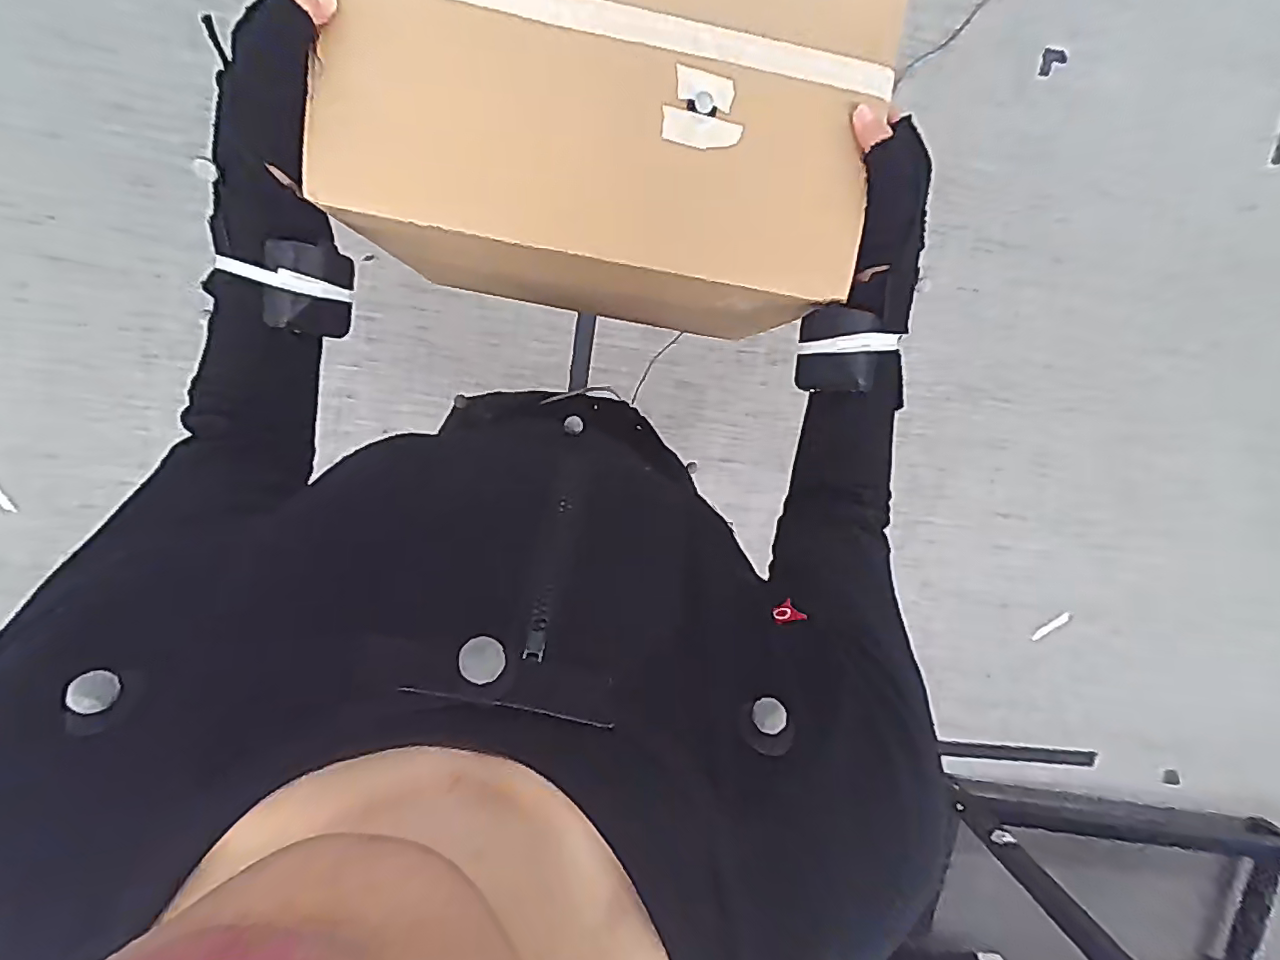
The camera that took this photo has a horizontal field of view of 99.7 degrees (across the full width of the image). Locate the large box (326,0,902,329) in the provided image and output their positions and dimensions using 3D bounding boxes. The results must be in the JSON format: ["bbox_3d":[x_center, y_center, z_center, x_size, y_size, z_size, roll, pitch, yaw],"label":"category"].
[{"bbox_3d":[-0.026,-0.350,0.534,0.408,0.320,0.320,8,100,-7],"label":"large box"}]
